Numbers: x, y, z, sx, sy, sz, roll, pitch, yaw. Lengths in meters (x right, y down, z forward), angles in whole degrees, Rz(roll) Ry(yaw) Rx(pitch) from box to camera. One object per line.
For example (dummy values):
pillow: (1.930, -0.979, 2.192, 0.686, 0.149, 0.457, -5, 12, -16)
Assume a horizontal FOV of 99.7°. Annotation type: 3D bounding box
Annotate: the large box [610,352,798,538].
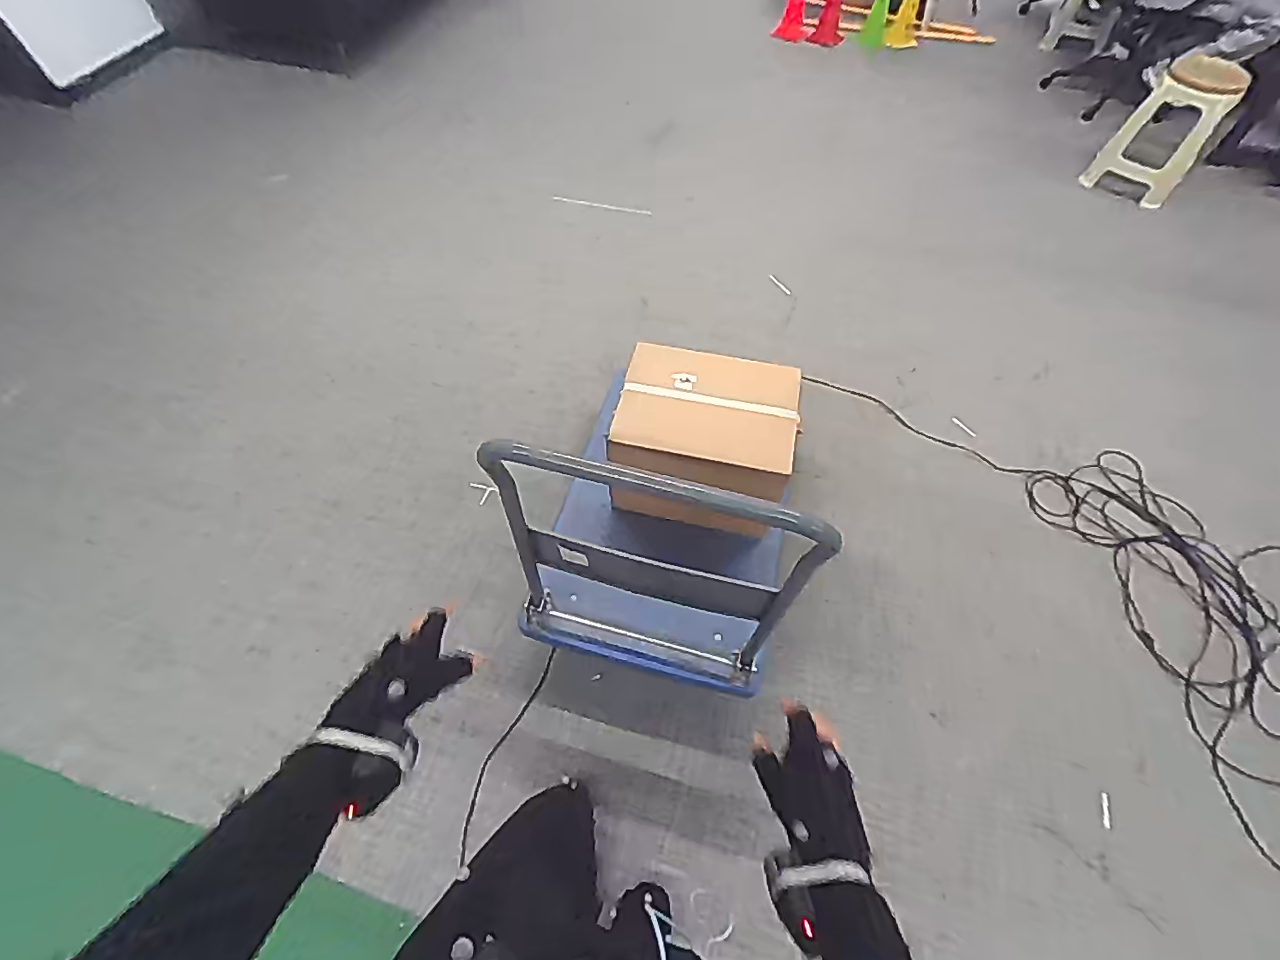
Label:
large box: (0.160, -0.081, 1.372, 0.408, 0.320, 0.320, 11, 57, 7)
